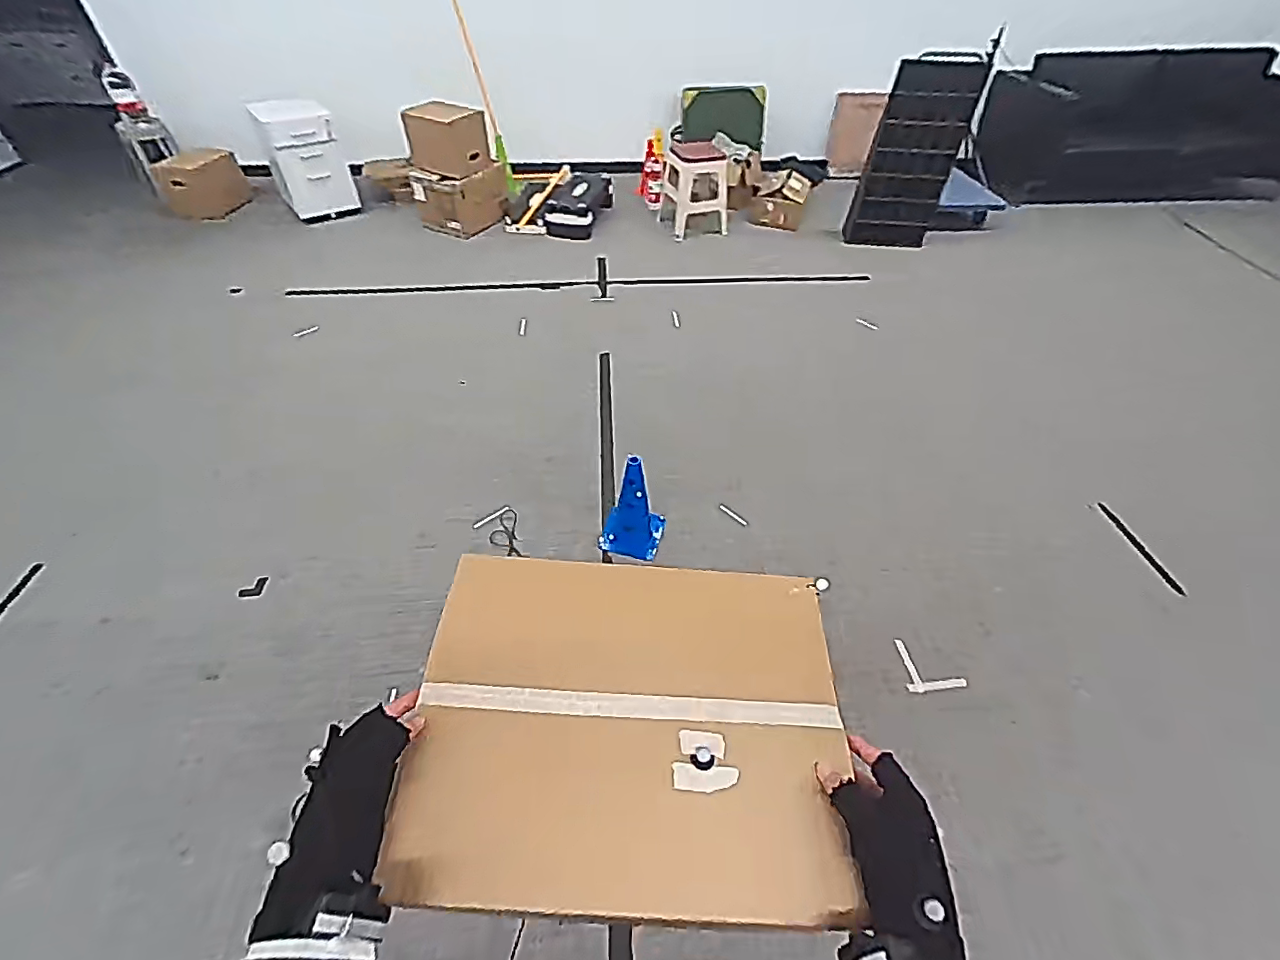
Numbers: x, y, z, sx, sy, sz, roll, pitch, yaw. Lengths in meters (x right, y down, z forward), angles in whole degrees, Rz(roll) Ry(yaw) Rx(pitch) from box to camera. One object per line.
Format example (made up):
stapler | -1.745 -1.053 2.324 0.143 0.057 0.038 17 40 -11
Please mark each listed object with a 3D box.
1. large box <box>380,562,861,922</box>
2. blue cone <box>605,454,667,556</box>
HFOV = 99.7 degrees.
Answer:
large box | -0.020 0.320 0.647 0.408 0.320 0.320 4 50 -1
blue cone | -0.010 0.067 1.782 0.193 0.380 0.192 14 47 12
